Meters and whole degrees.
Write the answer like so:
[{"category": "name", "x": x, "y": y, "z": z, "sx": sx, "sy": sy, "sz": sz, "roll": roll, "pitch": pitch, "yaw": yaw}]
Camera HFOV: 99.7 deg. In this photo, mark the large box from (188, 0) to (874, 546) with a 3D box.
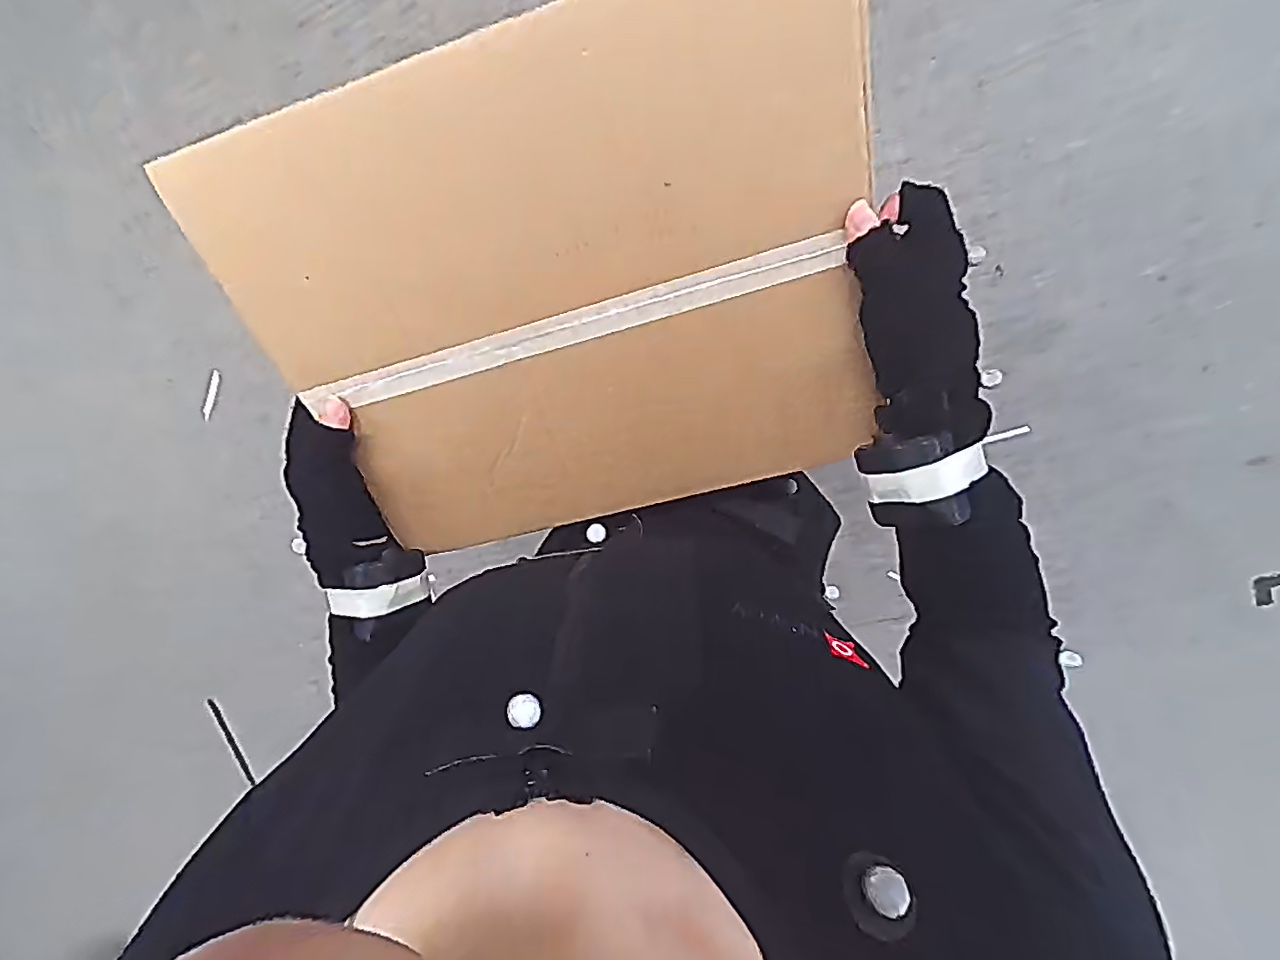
[{"category": "large box", "x": -0.046, "y": -0.191, "z": 0.501, "sx": 0.408, "sy": 0.320, "sz": 0.320, "roll": -14, "pitch": 122, "yaw": 10}]
